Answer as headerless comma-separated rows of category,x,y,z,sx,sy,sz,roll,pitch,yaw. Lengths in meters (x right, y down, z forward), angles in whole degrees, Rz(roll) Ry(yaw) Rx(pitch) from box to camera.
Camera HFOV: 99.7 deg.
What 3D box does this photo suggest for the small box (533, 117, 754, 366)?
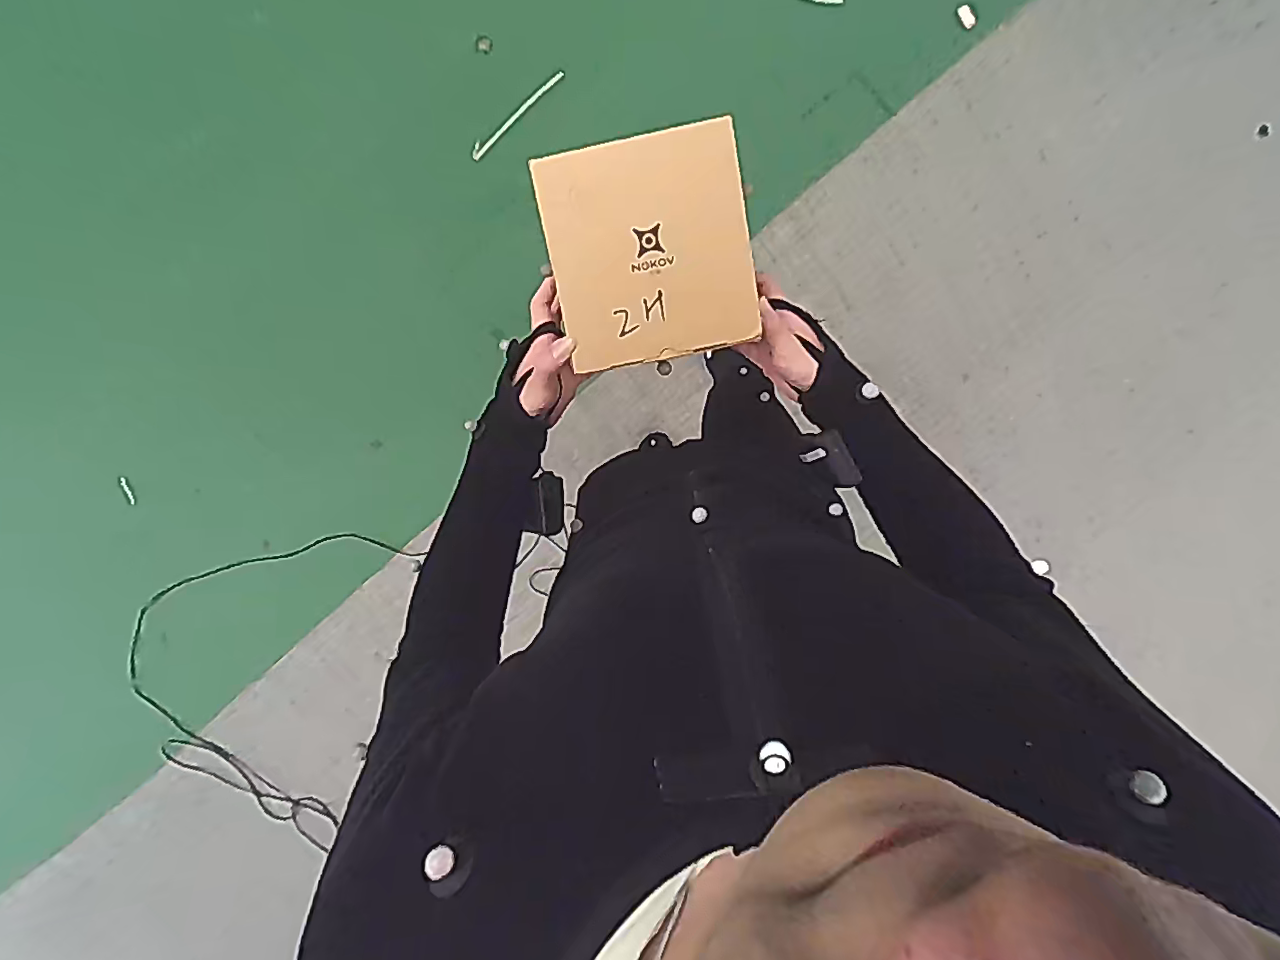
small box,0.005,-0.212,0.533,0.168,0.176,0.179,-10,102,3
